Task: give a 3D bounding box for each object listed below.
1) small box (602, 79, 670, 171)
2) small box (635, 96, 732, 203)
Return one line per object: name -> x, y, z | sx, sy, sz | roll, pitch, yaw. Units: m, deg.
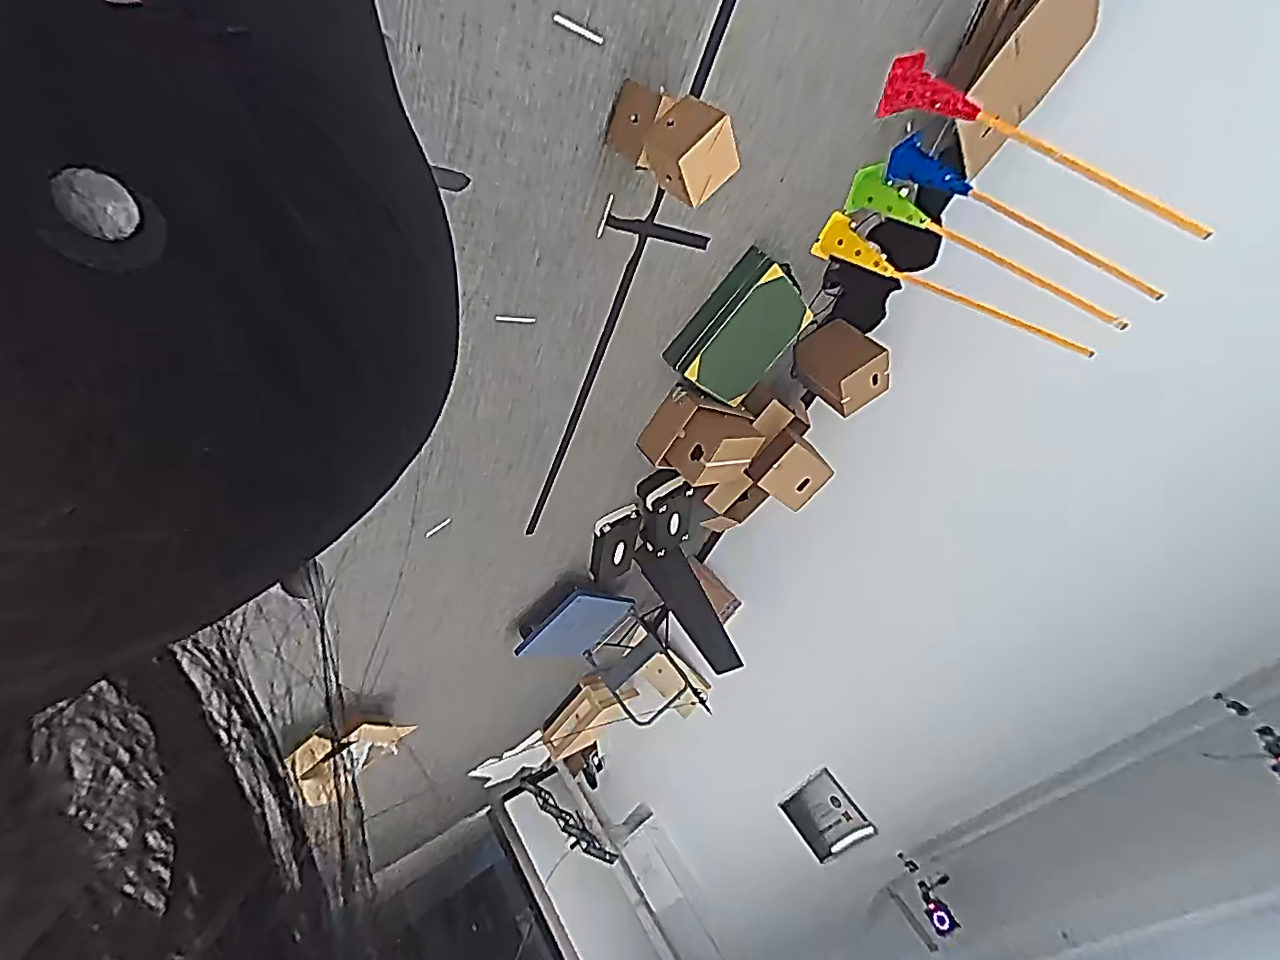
small box -> 0.015, -1.007, 1.554 | 0.168, 0.176, 0.179 | -11, 139, -45
small box -> 0.123, -0.898, 1.484 | 0.179, 0.176, 0.168 | -44, 152, 2
